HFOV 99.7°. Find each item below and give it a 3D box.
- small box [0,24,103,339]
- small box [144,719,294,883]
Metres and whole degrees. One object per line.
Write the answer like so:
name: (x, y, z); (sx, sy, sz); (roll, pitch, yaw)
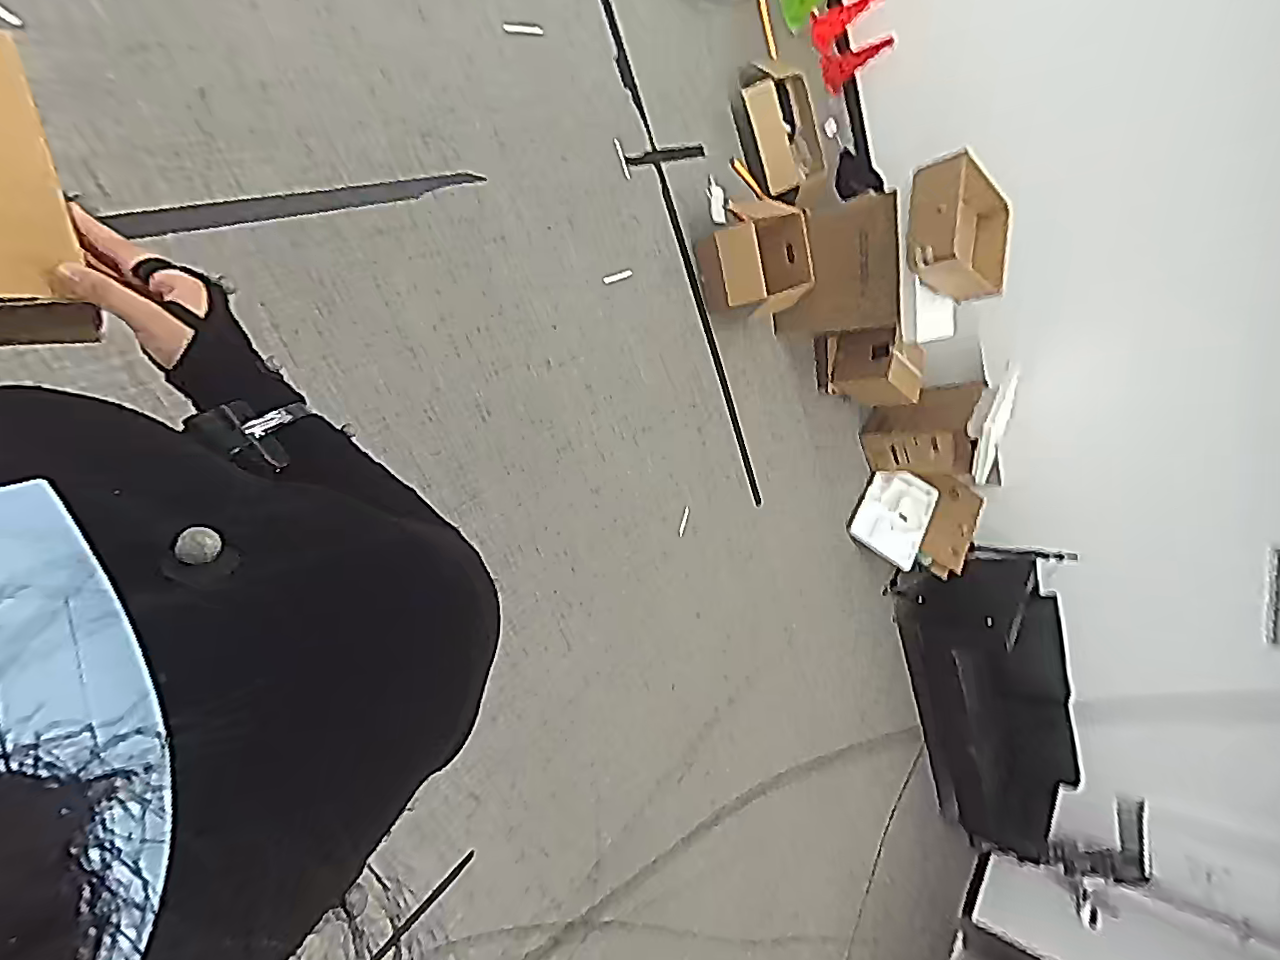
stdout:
small box: (-0.512, -0.198, 0.374); (0.168, 0.176, 0.179); (-19, 106, -42)
small box: (-0.796, 0.594, 1.026); (0.168, 0.176, 0.179); (-31, 111, -40)
